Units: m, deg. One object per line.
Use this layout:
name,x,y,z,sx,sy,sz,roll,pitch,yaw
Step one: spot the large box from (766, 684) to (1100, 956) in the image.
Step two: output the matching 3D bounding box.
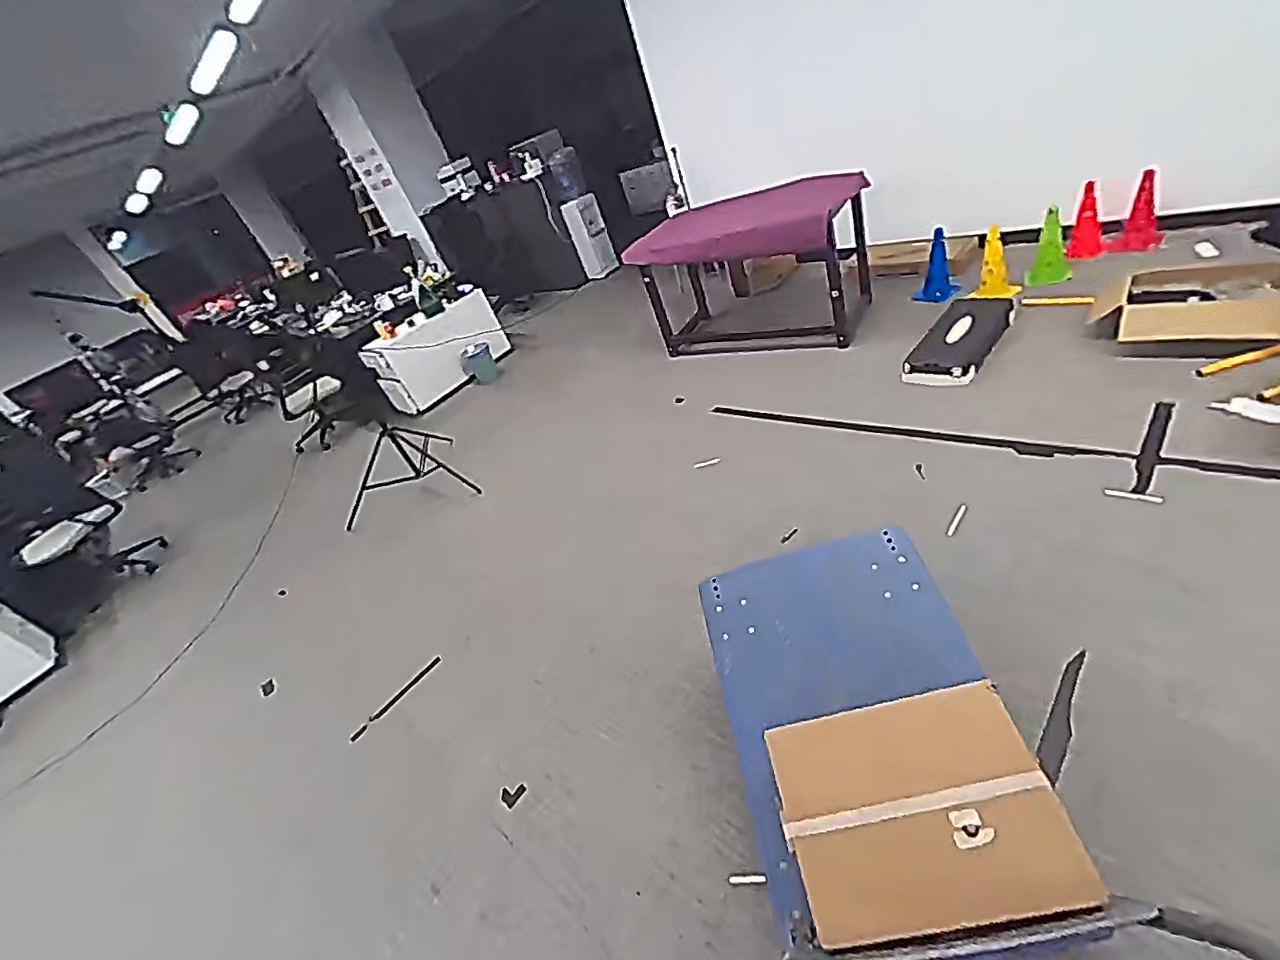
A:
large box,0.483,0.622,0.992,0.408,0.320,0.320,-18,51,7
